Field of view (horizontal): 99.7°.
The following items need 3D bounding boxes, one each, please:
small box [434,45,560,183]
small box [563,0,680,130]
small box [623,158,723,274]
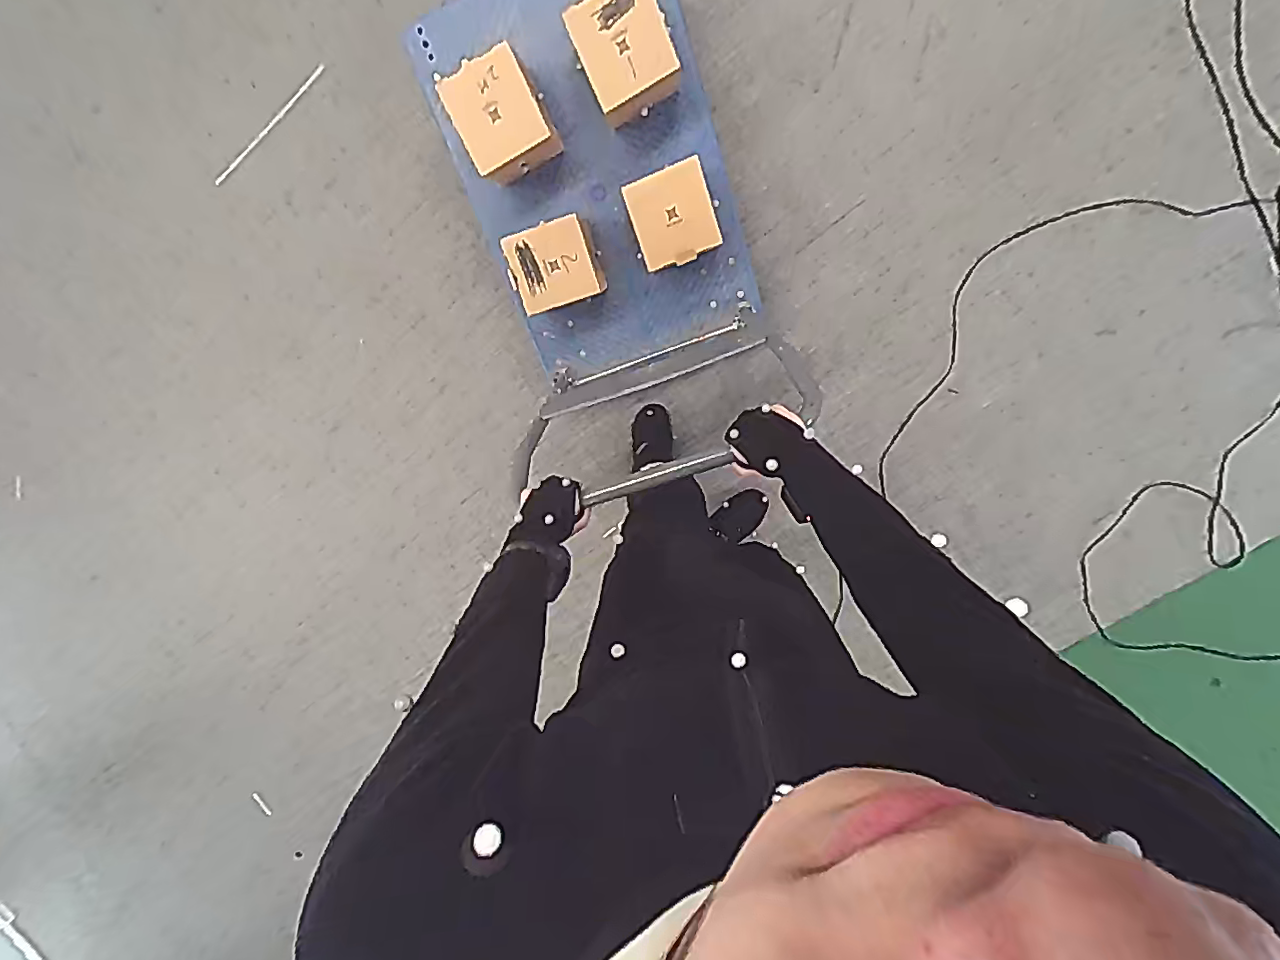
[{"bbox_3d":[-0.283,-0.740,1.121,0.168,0.176,0.179,-23,110,11],"label":"small box"},{"bbox_3d":[-0.031,-0.835,1.069,0.168,0.176,0.179,-23,111,13],"label":"small box"},{"bbox_3d":[0.070,-0.567,1.181,0.168,0.176,0.179,-19,112,10],"label":"small box"}]
